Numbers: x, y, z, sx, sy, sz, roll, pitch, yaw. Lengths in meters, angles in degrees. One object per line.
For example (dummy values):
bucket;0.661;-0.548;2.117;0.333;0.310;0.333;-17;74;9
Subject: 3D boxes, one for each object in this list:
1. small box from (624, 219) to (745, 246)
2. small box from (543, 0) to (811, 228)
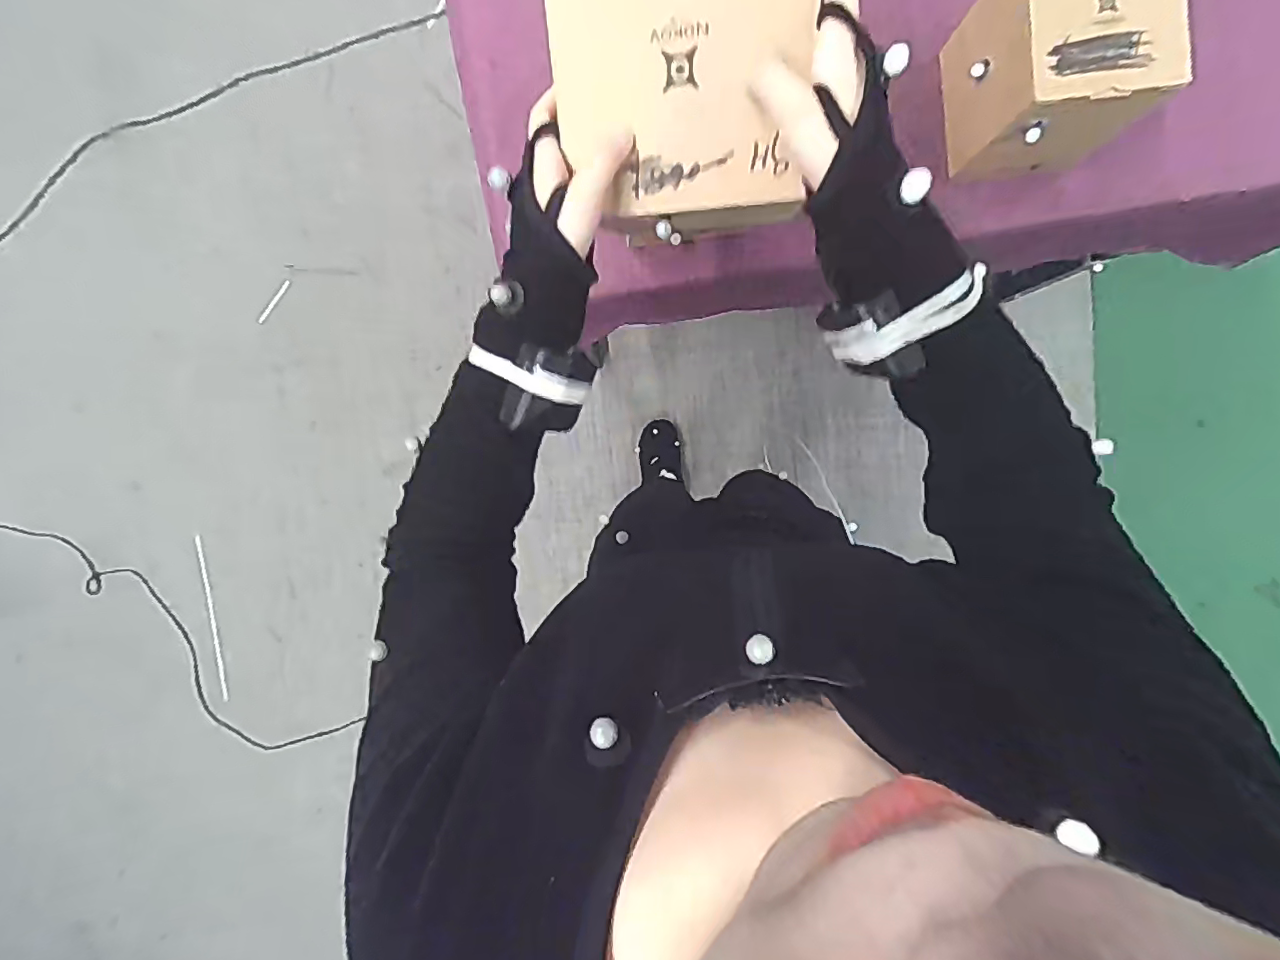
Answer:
small box;0.049;-0.414;0.665;0.168;0.176;0.179;-7;94;2
small box;0.033;-0.299;0.407;0.168;0.176;0.179;0;110;11
